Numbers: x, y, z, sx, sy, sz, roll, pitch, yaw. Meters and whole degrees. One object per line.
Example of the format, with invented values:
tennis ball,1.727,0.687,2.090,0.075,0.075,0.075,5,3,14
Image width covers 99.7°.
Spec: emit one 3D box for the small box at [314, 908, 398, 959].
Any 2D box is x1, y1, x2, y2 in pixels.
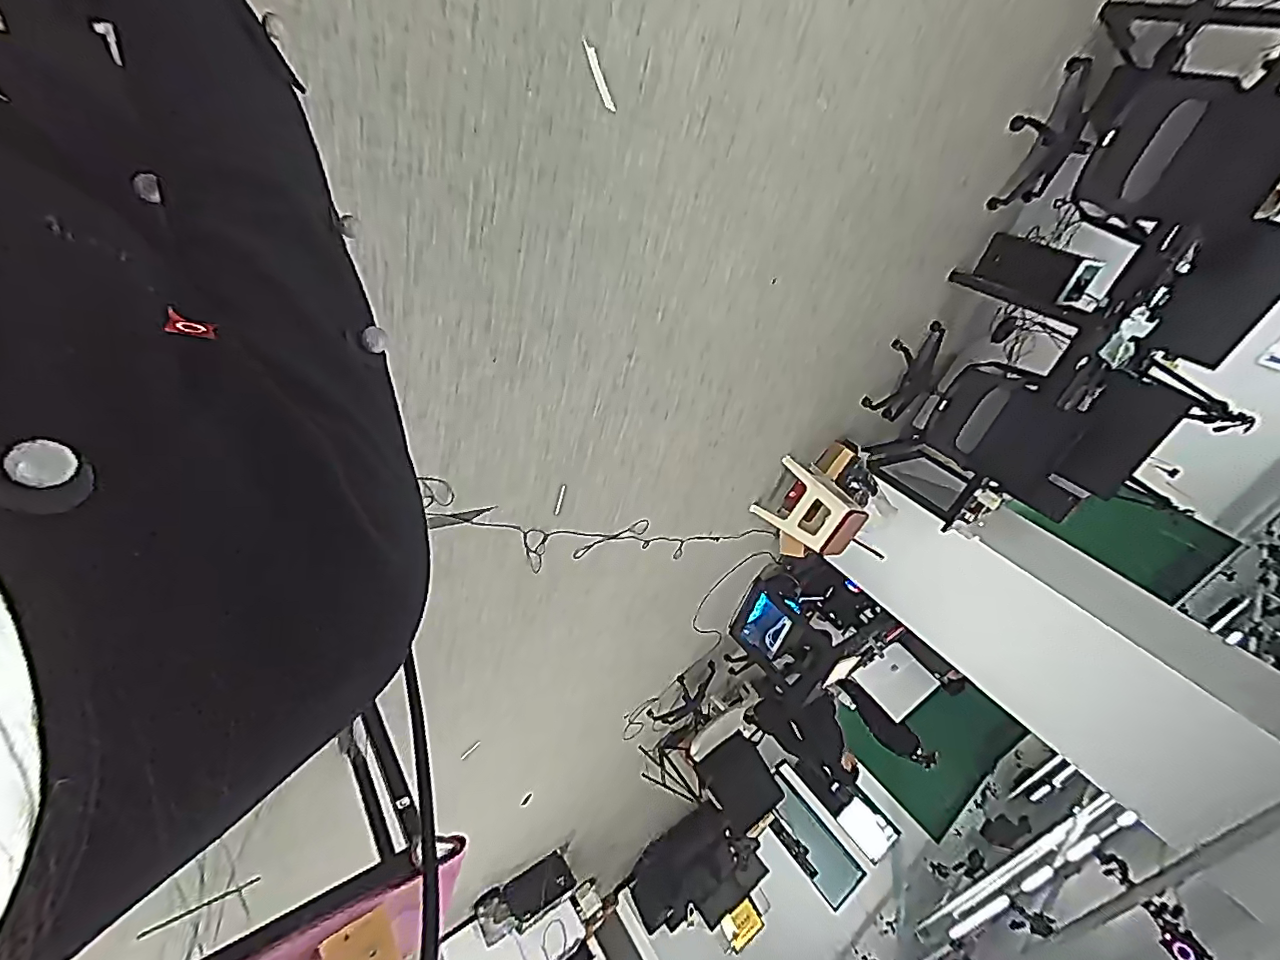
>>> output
small box,-0.743,1.287,1.428,0.168,0.176,0.179,-16,135,-35
